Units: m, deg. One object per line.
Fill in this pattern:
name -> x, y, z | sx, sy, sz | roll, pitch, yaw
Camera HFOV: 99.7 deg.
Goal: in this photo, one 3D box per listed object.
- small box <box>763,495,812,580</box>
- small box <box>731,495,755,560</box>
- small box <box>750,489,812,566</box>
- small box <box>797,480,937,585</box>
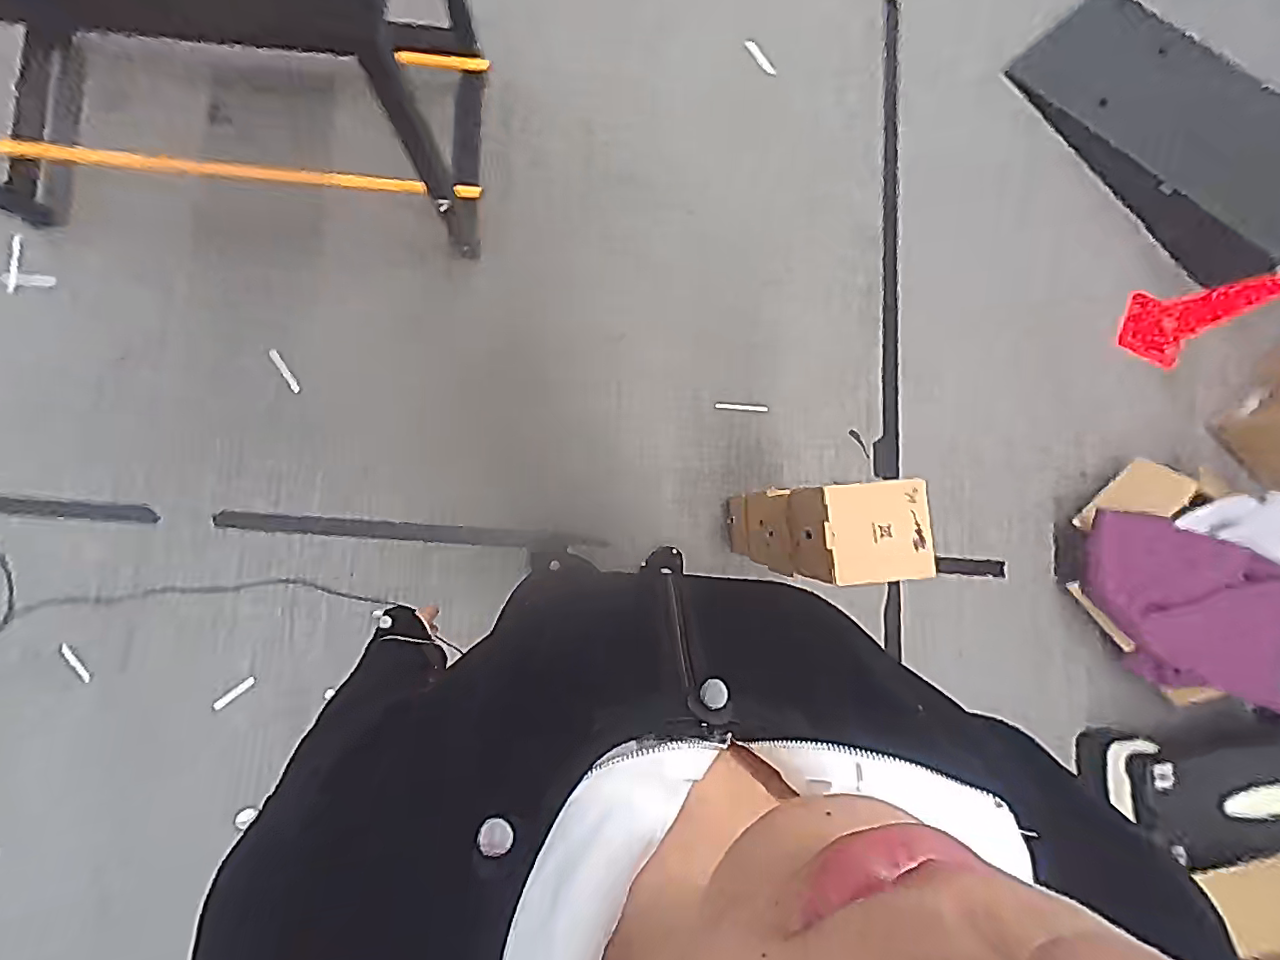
small box -> 0.372, 0.111, 1.124 | 0.179, 0.176, 0.168 | -5, 85, -4
small box -> 0.353, 0.123, 1.453 | 0.179, 0.176, 0.168 | -4, 85, -3
small box -> 0.366, 0.115, 1.289 | 0.168, 0.176, 0.179 | -2, 85, -4
small box -> 0.389, 0.093, 0.962 | 0.179, 0.176, 0.168 | -4, 85, -4
